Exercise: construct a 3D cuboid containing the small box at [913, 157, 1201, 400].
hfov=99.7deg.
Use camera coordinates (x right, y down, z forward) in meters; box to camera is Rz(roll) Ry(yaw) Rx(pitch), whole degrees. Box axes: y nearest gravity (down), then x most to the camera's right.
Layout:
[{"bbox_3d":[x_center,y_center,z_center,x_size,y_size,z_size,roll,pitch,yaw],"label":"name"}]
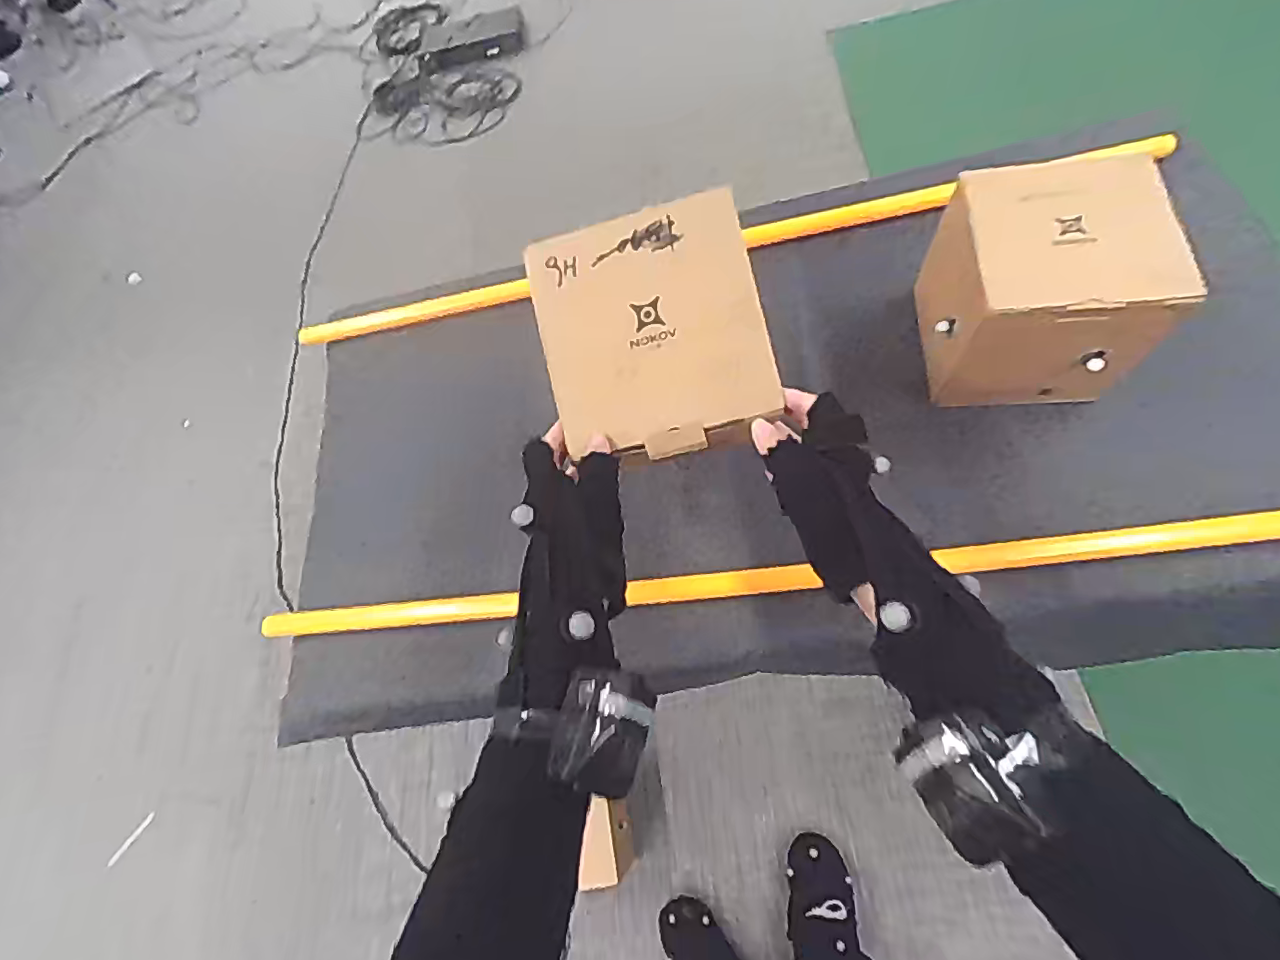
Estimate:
[{"bbox_3d":[0.404,-0.194,0.565,0.168,0.176,0.179,-1,66,10],"label":"small box"}]
